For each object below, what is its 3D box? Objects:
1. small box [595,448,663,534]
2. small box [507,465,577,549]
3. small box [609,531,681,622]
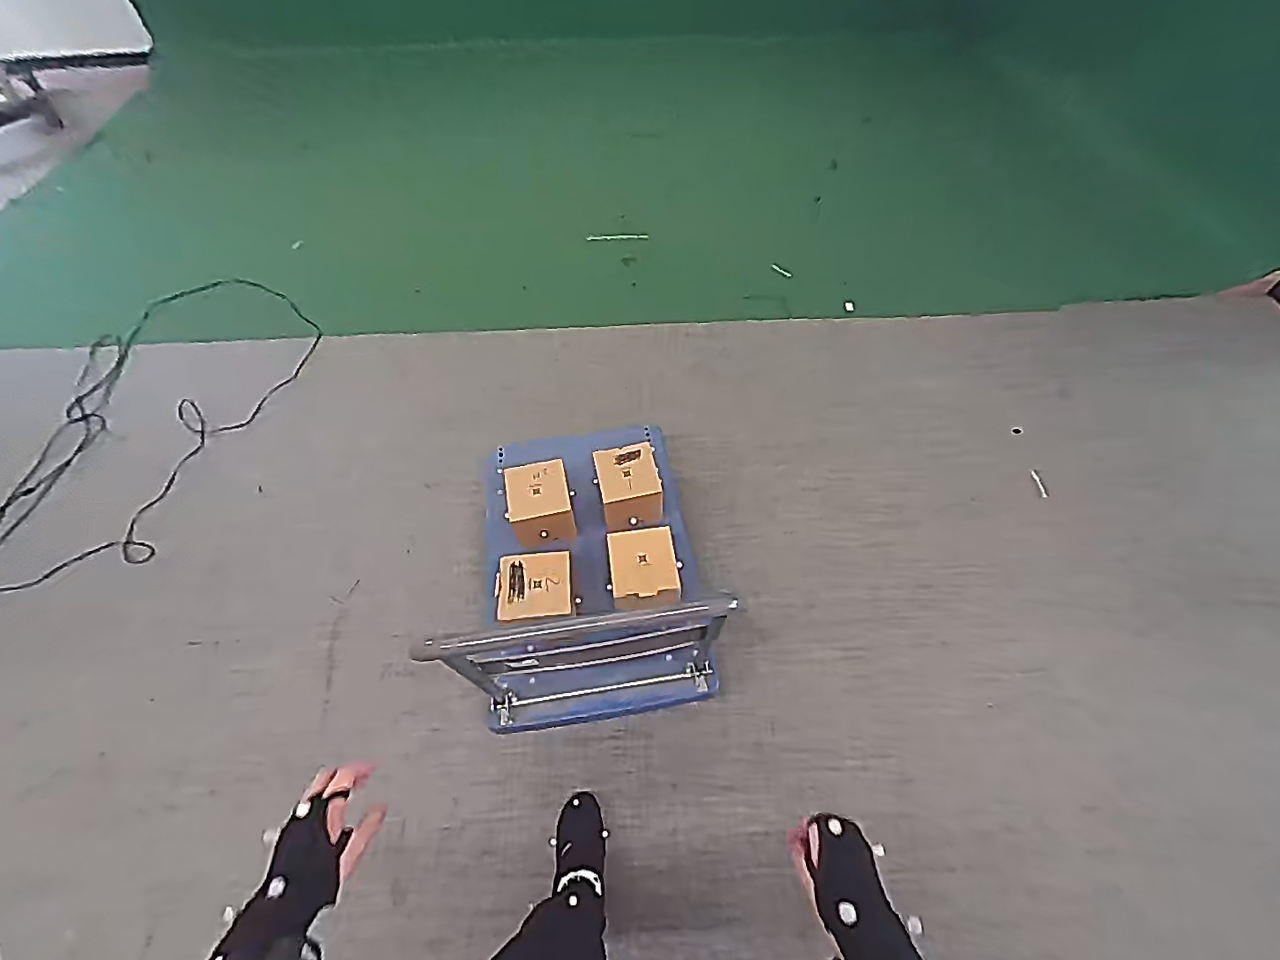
[{"bbox_3d":[-0.033,0.035,1.582,0.168,0.176,0.179,-11,58,-5],"label":"small box"},{"bbox_3d":[-0.278,0.084,1.555,0.168,0.176,0.179,-10,57,-7],"label":"small box"},{"bbox_3d":[0.010,0.258,1.436,0.168,0.176,0.179,-7,57,-4],"label":"small box"}]
